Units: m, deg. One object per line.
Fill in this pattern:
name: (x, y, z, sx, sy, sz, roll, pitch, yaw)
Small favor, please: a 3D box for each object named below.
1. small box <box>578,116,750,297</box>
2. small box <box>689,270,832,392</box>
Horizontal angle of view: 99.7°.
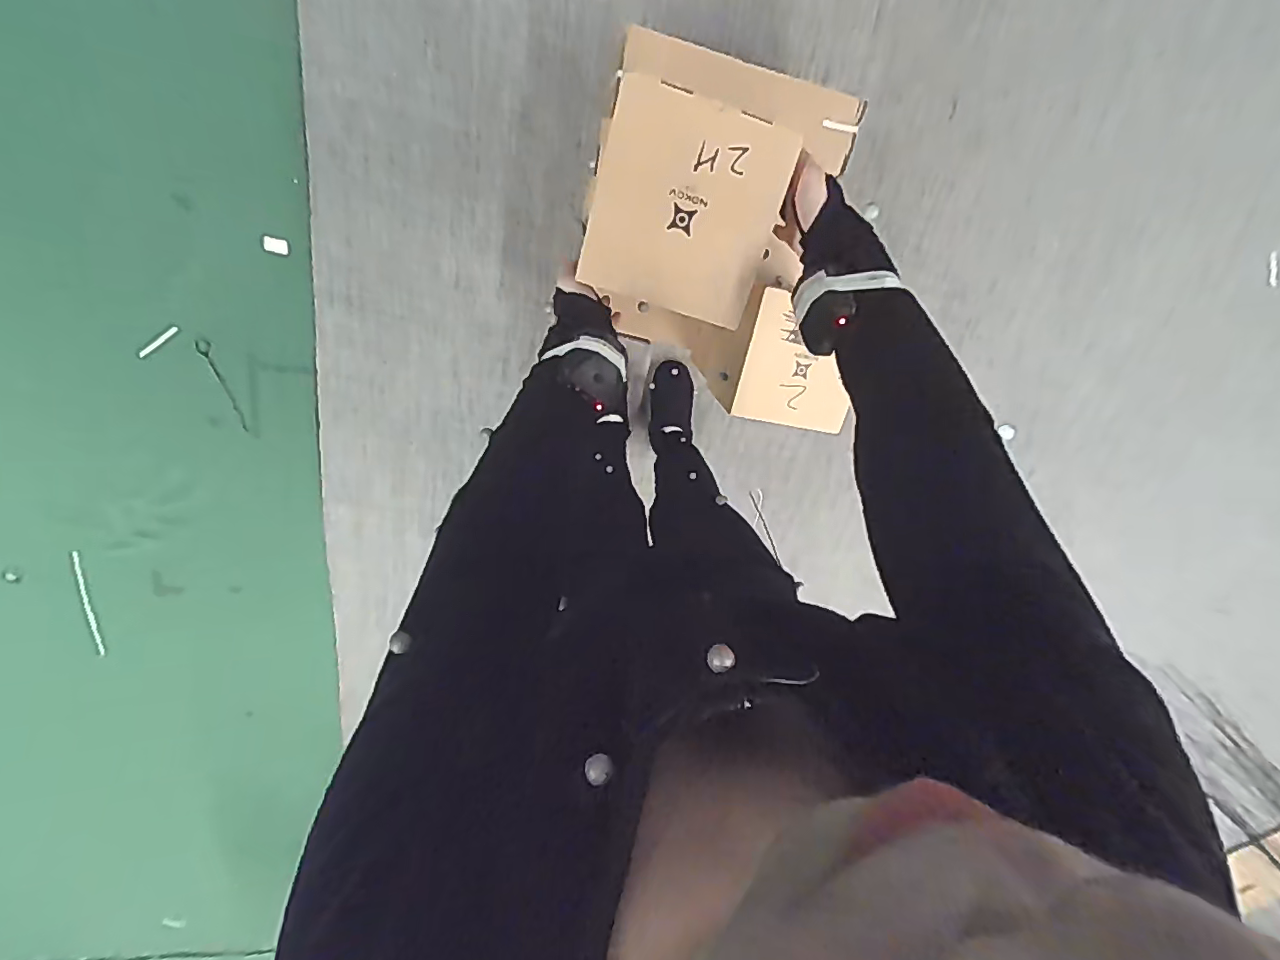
small box: (0.024, -0.345, 0.708, 0.179, 0.176, 0.168, 10, 113, -5)
small box: (0.198, -0.265, 0.942, 0.179, 0.176, 0.168, 8, 112, -9)
